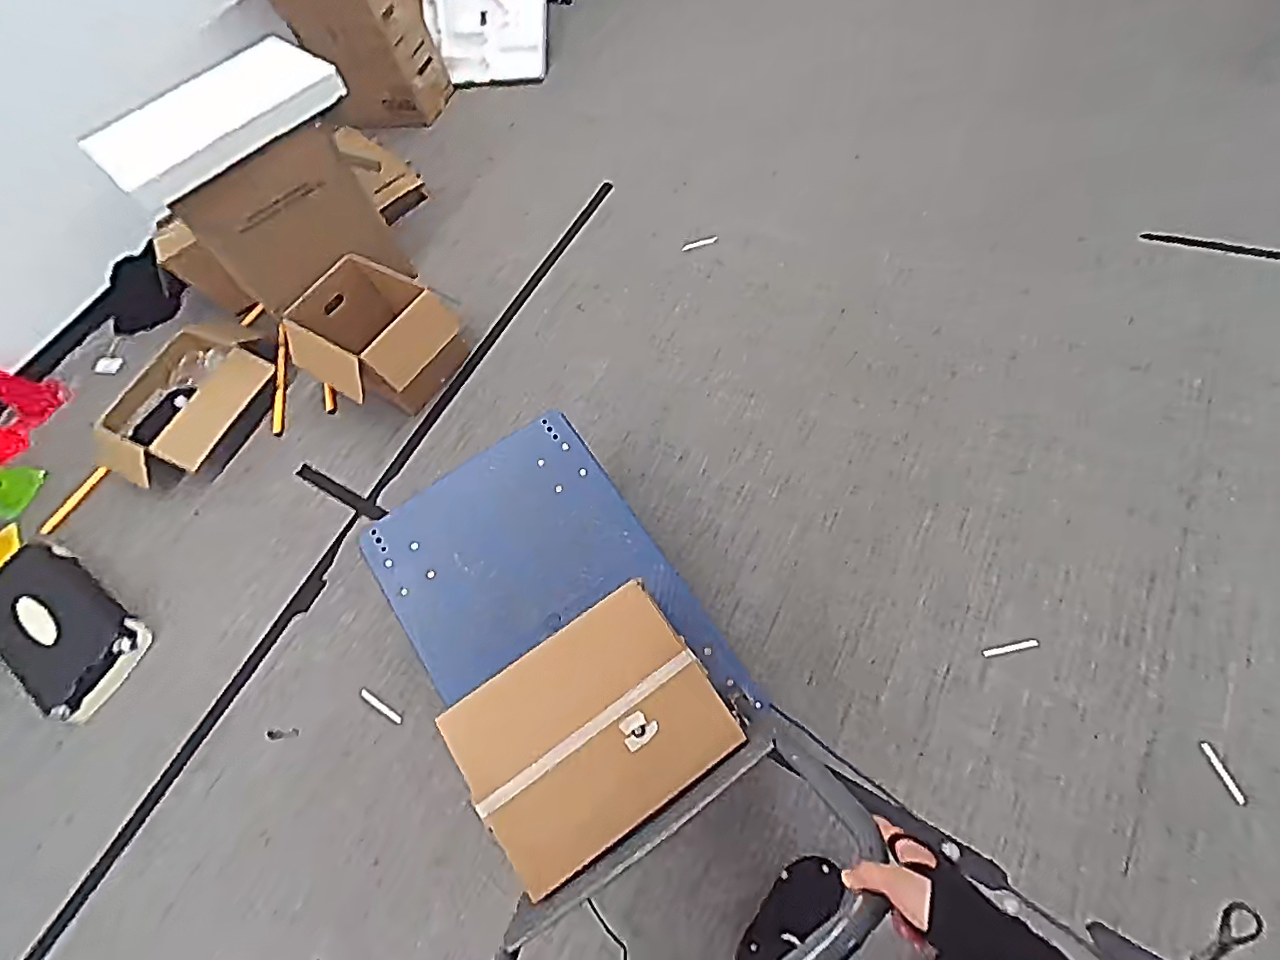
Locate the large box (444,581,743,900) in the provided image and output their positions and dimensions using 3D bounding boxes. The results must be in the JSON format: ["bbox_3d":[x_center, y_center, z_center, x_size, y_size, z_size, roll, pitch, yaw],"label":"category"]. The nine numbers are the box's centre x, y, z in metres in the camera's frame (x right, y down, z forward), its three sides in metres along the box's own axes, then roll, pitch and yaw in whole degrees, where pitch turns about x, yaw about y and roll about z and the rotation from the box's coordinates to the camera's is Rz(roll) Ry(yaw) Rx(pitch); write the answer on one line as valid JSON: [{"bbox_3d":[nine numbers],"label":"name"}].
[{"bbox_3d":[-0.075,0.448,1.018,0.408,0.320,0.320,-35,76,-8],"label":"large box"}]
